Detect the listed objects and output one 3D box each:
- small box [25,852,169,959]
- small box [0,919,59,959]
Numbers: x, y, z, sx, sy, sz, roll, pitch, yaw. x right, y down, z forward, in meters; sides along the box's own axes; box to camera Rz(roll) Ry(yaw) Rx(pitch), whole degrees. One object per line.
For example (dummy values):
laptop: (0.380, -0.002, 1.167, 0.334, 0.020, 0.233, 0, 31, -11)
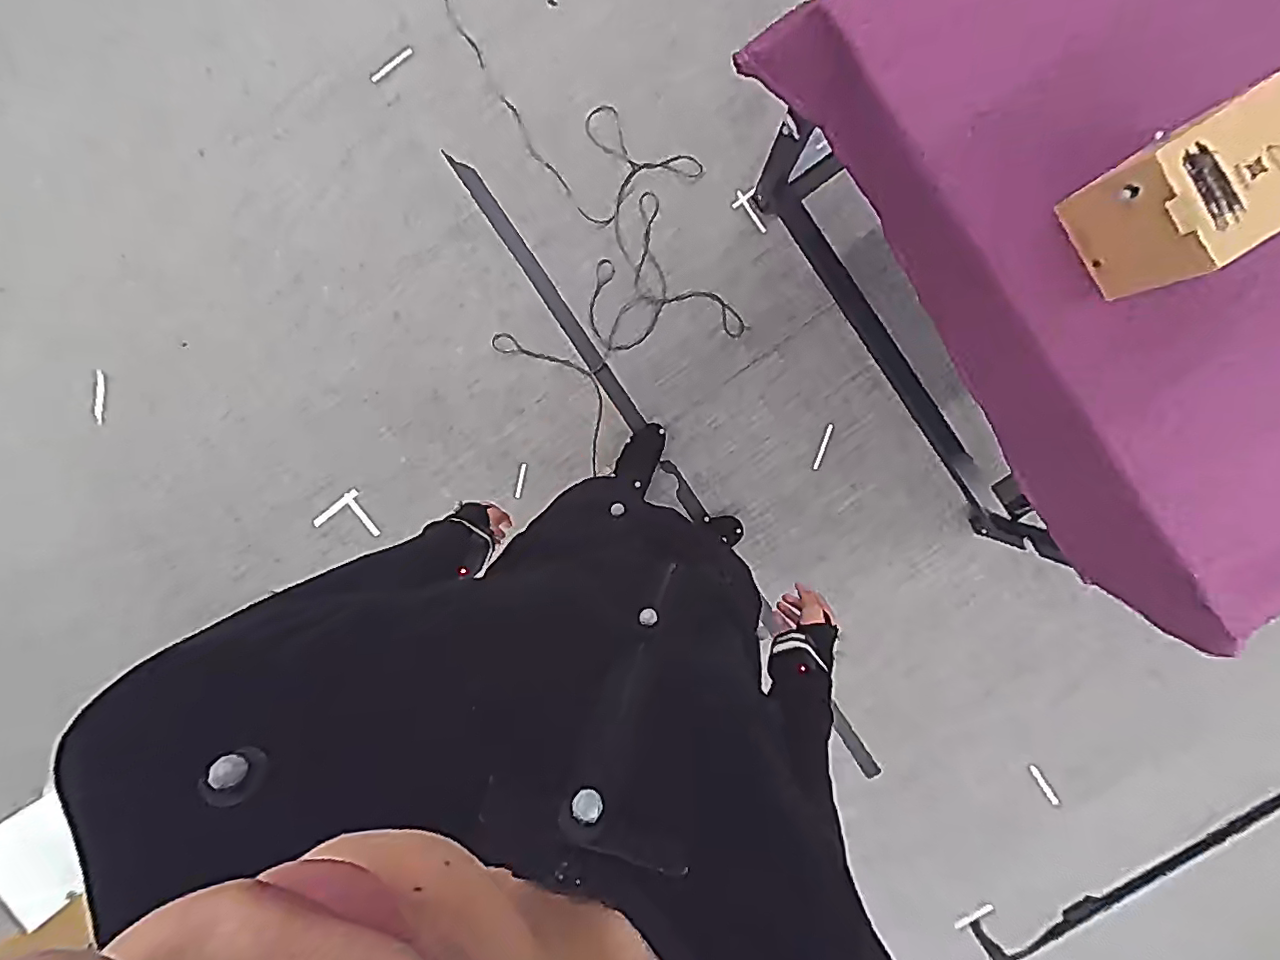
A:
small box: (-1.123, 0.909, 1.089, 0.168, 0.176, 0.179, -39, 94, 6)
small box: (-1.156, 0.918, 0.927, 0.179, 0.176, 0.168, -38, 95, 6)
